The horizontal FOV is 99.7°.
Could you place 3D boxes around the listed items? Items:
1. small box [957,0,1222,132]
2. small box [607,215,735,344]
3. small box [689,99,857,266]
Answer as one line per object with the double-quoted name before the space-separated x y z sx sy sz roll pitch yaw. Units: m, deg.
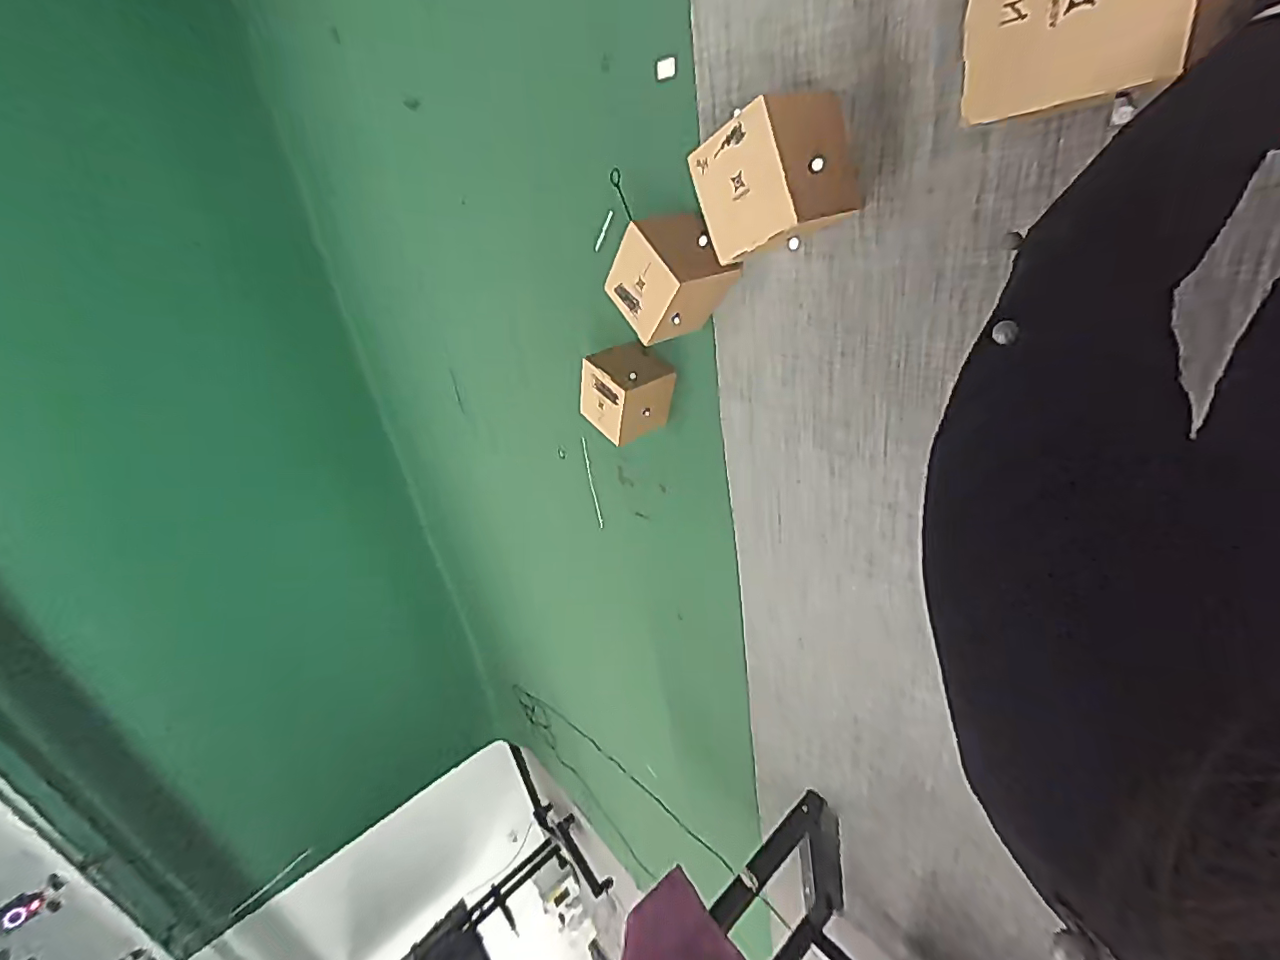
"small box" 0.443 -0.459 0.529 0.179 0.176 0.168 19 127 47
"small box" 0.063 -0.411 1.107 0.168 0.176 0.179 56 147 12
"small box" 0.213 -0.467 0.853 0.168 0.176 0.179 -3 110 56
